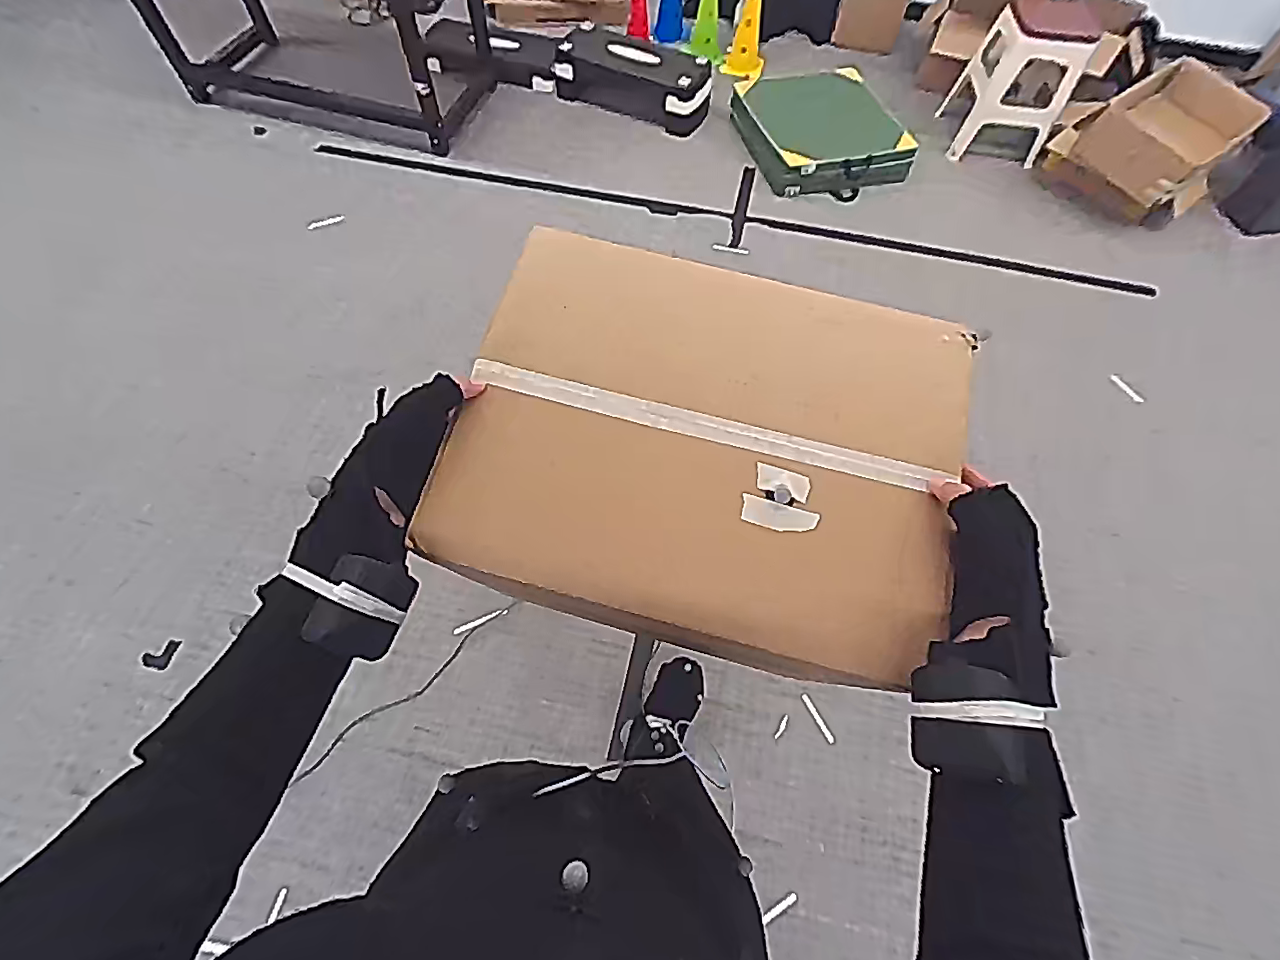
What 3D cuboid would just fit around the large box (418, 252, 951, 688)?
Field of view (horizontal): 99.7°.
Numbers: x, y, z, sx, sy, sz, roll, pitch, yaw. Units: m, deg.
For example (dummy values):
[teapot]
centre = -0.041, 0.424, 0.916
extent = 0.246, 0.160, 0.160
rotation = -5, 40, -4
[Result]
[large box]
centre = 0.048, 0.015, 0.593
extent = 0.408, 0.320, 0.320
rotation = 14, 73, 3
